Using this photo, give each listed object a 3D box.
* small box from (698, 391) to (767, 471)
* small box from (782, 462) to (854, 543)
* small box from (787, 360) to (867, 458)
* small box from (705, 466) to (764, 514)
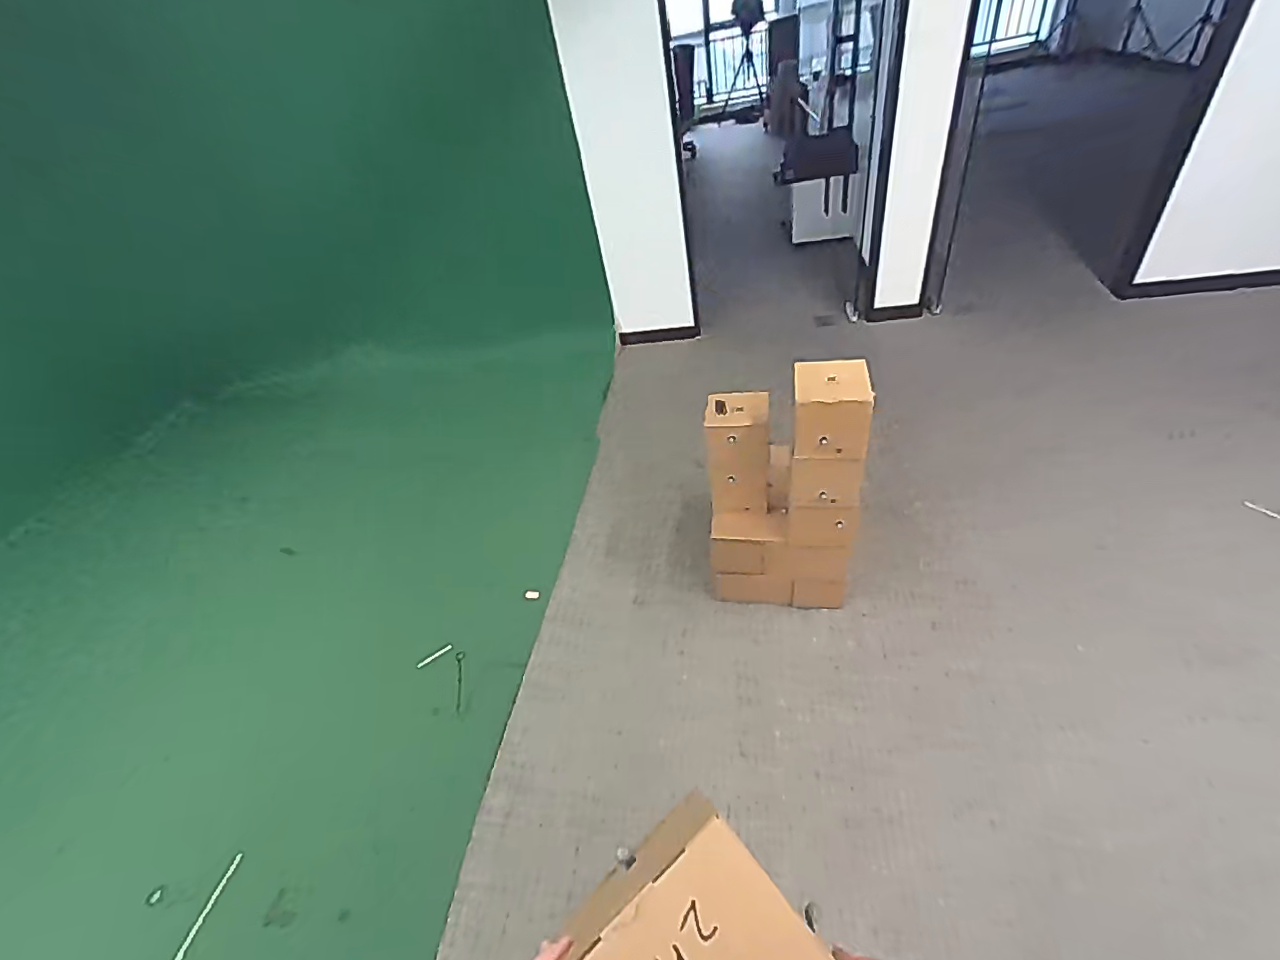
[{"bbox_3d":[0.272,-0.139,1.563,0.179,0.176,0.168,-2,41,14],"label":"small box"},{"bbox_3d":[0.494,0.065,1.525,0.179,0.176,0.168,-2,40,13],"label":"small box"},{"bbox_3d":[0.444,-0.172,1.306,0.168,0.176,0.179,0,42,14],"label":"small box"},{"bbox_3d":[0.296,-0.015,1.672,0.168,0.176,0.179,-1,40,14],"label":"small box"}]
